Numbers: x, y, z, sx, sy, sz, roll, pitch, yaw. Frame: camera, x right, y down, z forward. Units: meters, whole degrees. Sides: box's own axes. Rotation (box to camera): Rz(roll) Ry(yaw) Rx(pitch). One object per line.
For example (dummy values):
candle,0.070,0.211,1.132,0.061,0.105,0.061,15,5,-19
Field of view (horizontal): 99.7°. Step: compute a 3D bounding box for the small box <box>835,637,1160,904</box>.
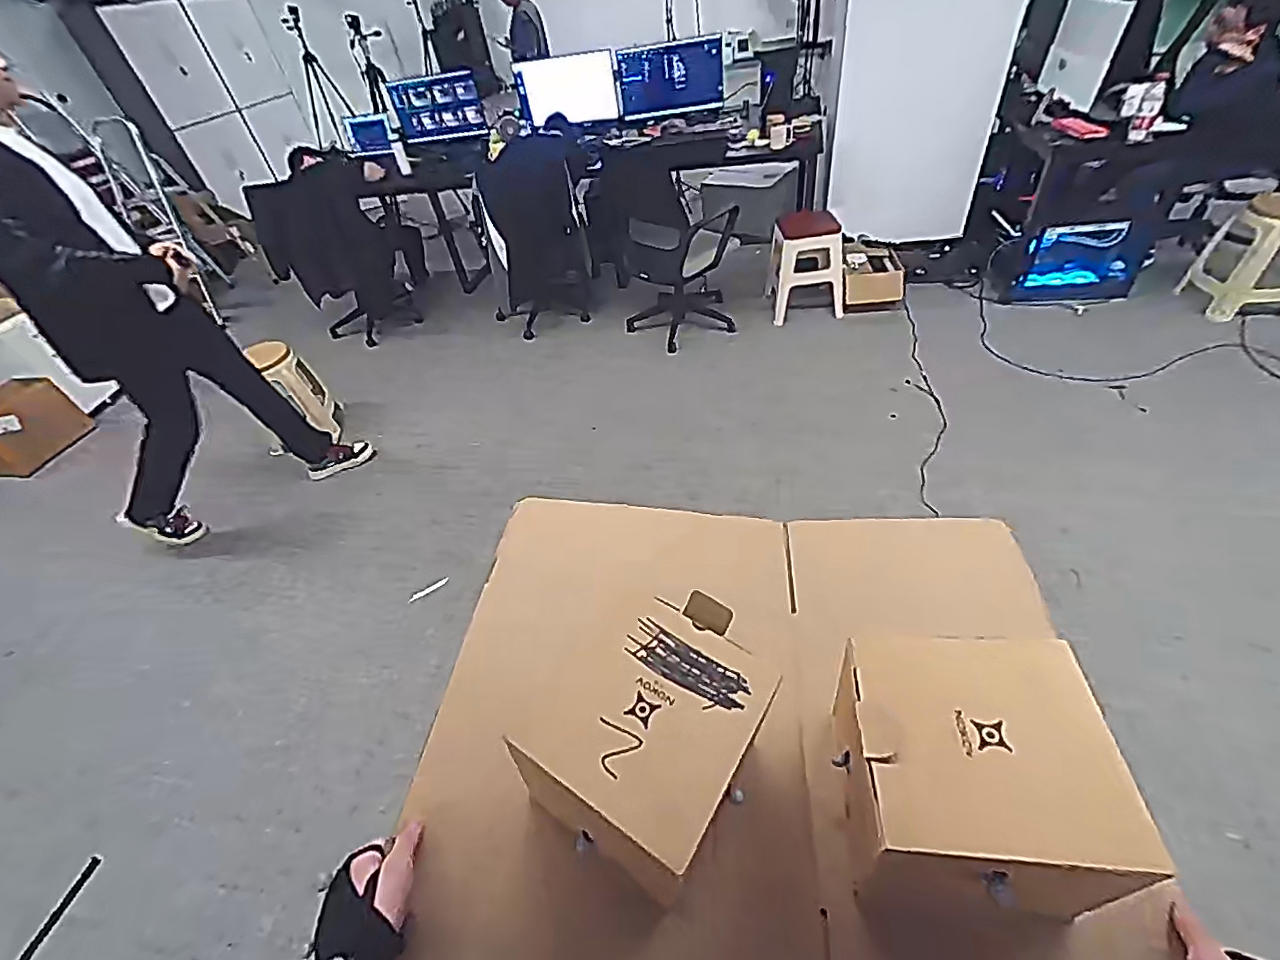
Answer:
small box,0.281,0.257,0.481,0.179,0.176,0.168,-3,44,12
